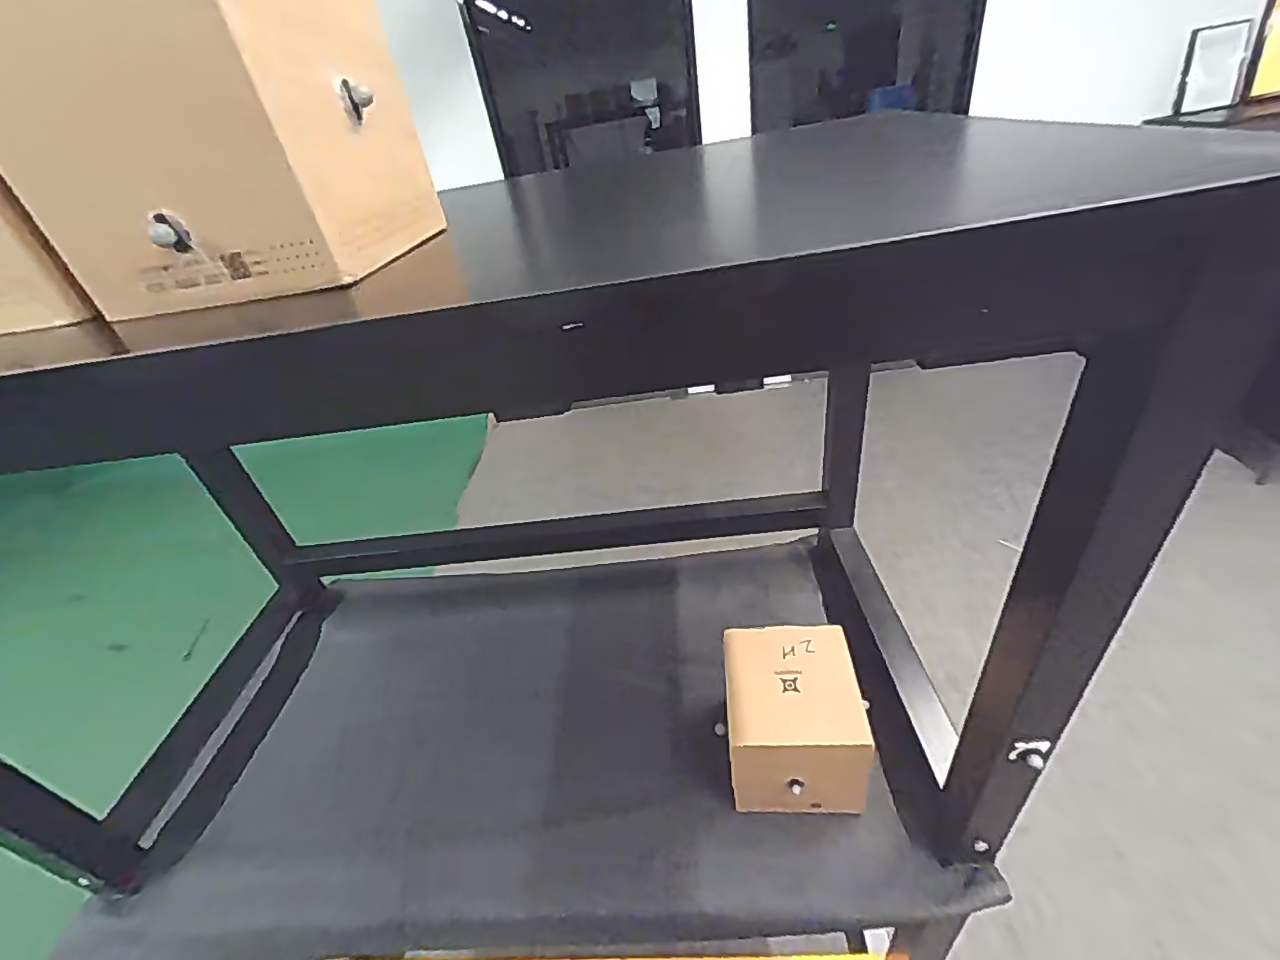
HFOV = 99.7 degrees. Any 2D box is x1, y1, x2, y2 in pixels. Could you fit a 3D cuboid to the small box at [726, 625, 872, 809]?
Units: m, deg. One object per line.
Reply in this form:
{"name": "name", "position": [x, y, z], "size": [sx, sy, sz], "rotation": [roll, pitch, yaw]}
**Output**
{"name": "small box", "position": [0.208, 0.324, 0.741], "size": [0.168, 0.176, 0.179], "rotation": [-4, 34, 9]}
